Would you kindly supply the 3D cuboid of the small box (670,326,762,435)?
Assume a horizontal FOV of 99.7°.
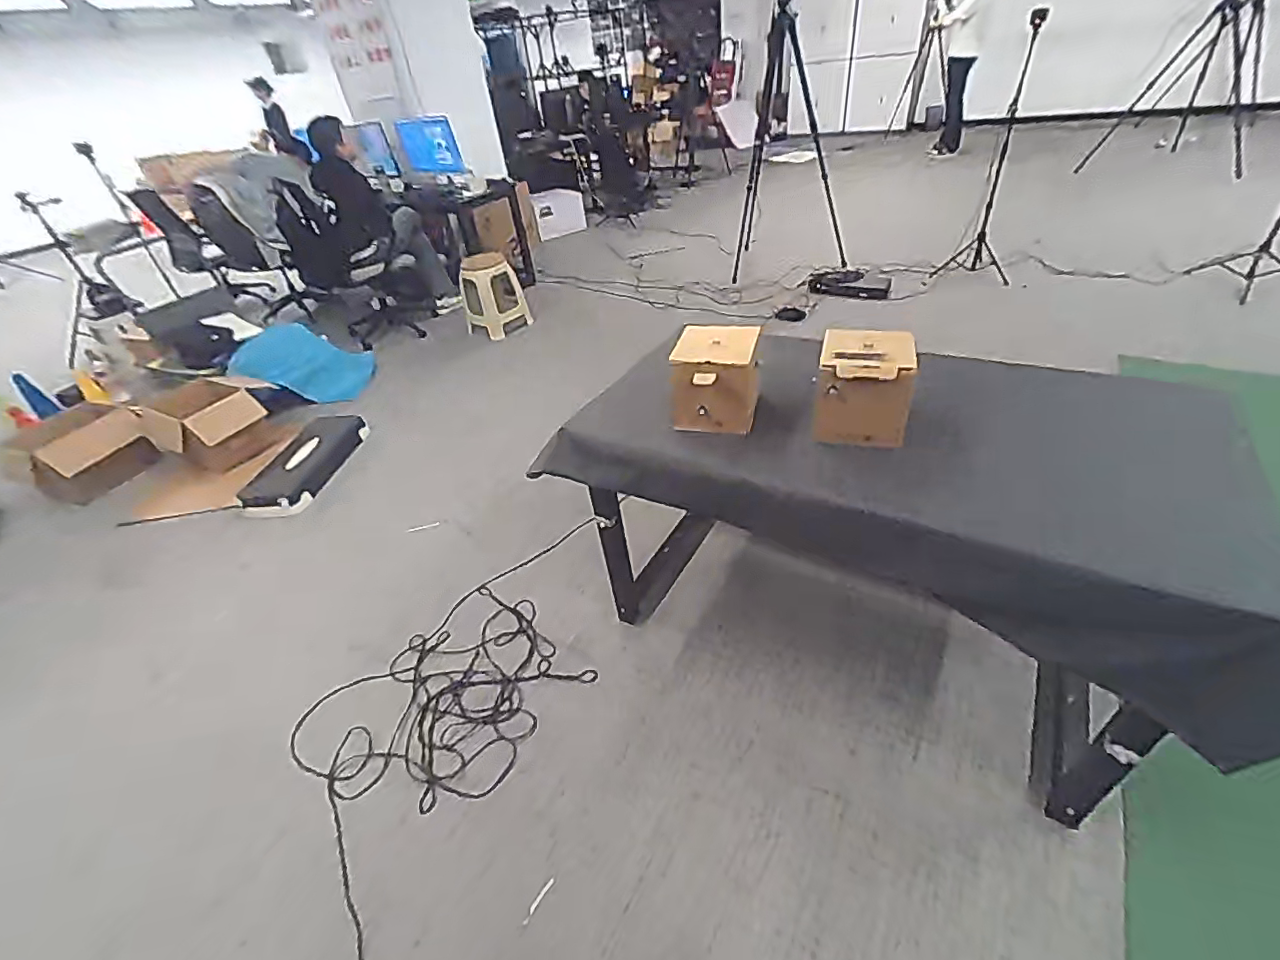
[{"bbox_3d":[0.168,-0.218,1.171,0.168,0.176,0.179,6,41,17],"label":"small box"}]
